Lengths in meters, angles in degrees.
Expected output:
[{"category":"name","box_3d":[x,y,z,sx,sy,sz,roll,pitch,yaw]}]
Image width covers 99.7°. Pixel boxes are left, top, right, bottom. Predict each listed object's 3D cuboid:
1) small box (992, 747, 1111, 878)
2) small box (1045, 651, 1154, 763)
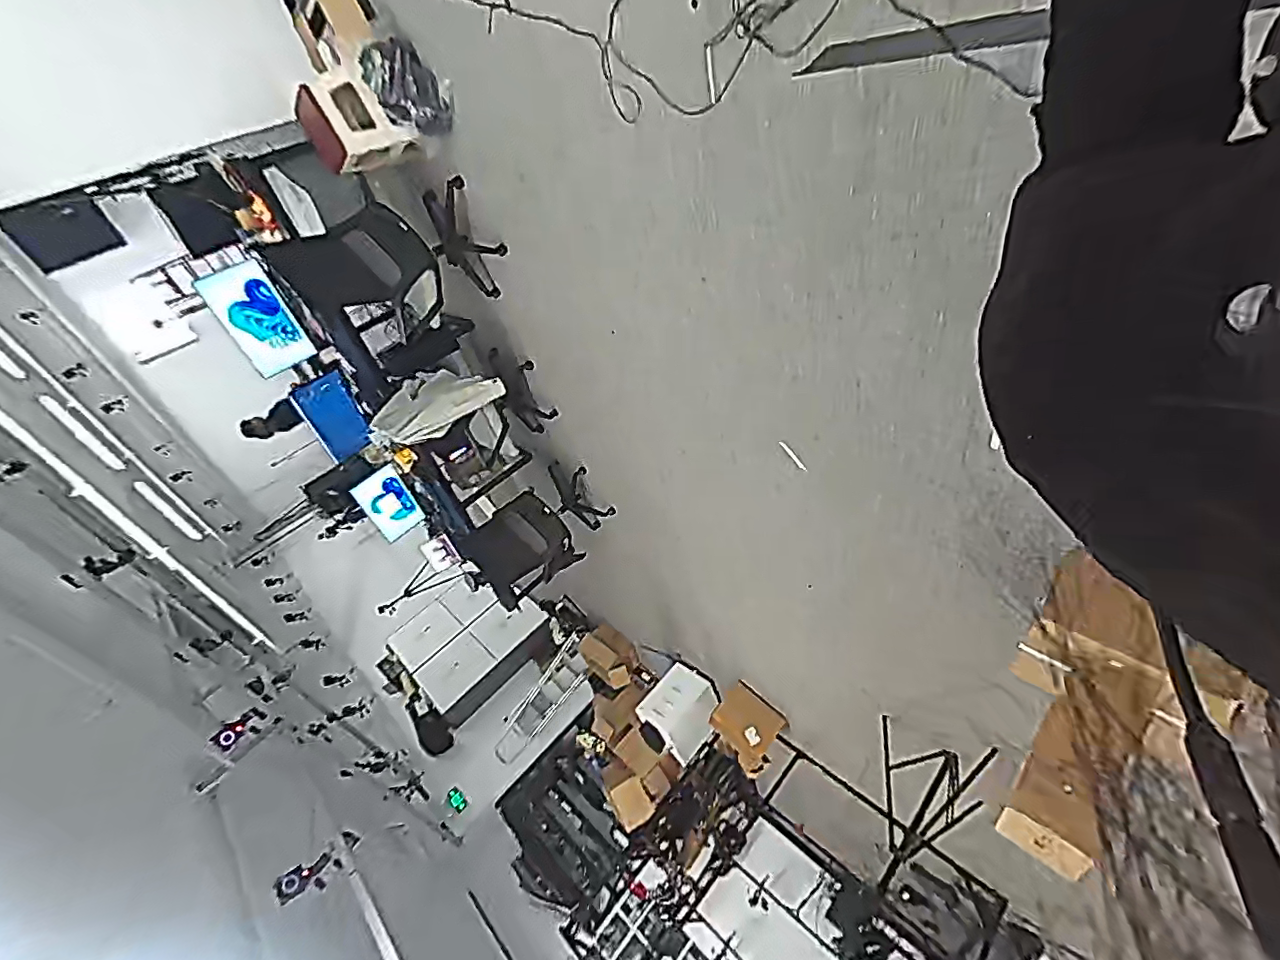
[{"category":"small box","box_3d":[0.960,0.772,1.265,0.168,0.176,0.179,25,145,40]},{"category":"small box","box_3d":[1.190,0.581,1.402,0.168,0.176,0.179,24,145,42]}]
